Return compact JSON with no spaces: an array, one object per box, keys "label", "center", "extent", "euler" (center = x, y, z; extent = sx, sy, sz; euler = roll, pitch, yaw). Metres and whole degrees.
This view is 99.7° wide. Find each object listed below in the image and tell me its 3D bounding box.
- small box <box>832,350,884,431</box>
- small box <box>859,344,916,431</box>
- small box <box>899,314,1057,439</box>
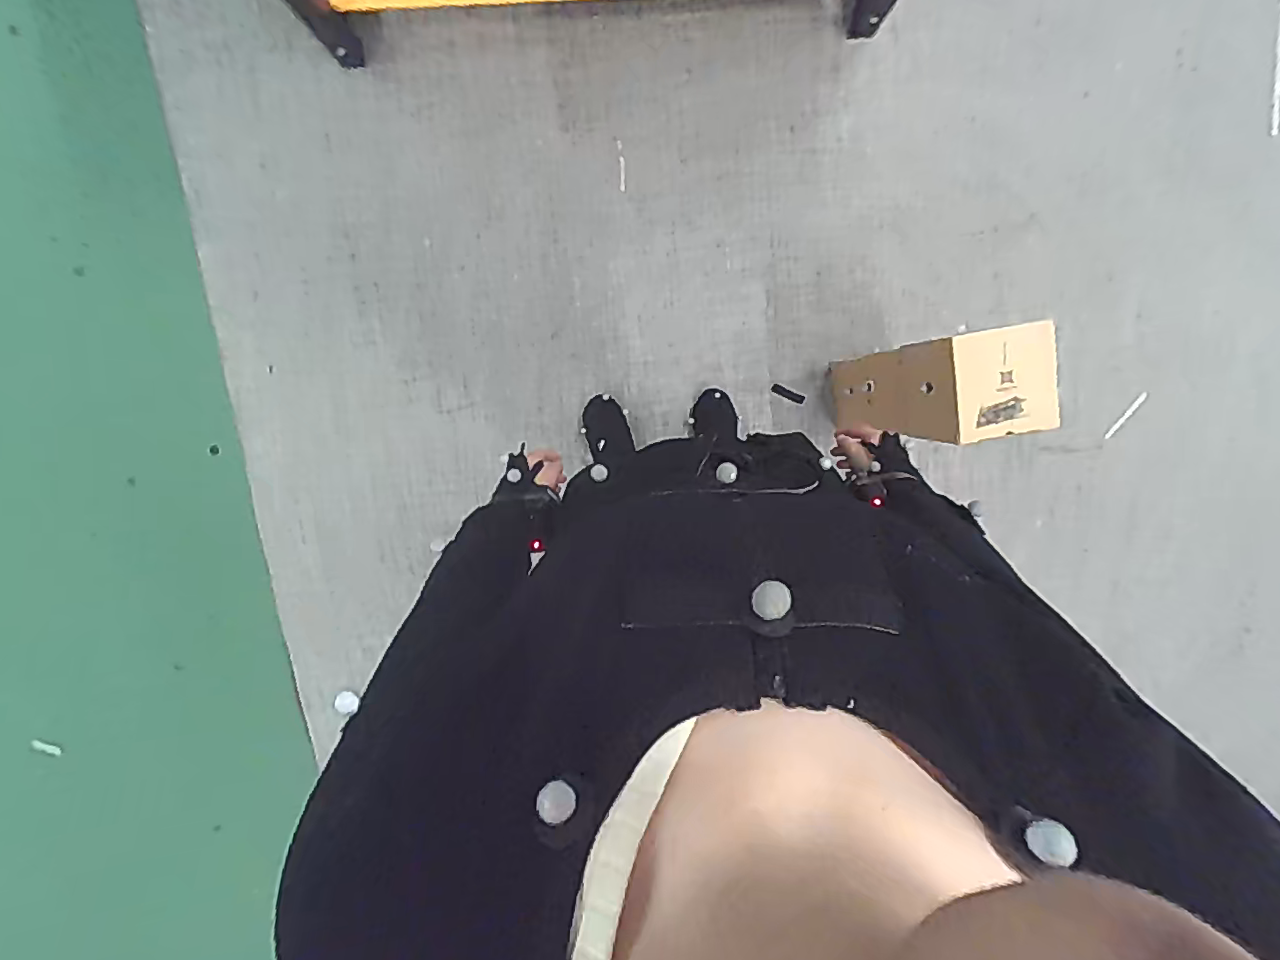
[{"label":"small box","center":[0.563,-0.215,1.261],"extent":[0.168,0.176,0.179],"euler":[-11,99,0]},{"label":"small box","center":[0.571,-0.199,1.098],"extent":[0.179,0.176,0.168],"euler":[-11,99,1]},{"label":"small box","center":[0.574,-0.175,0.935],"extent":[0.168,0.176,0.179],"euler":[-10,98,0]}]
